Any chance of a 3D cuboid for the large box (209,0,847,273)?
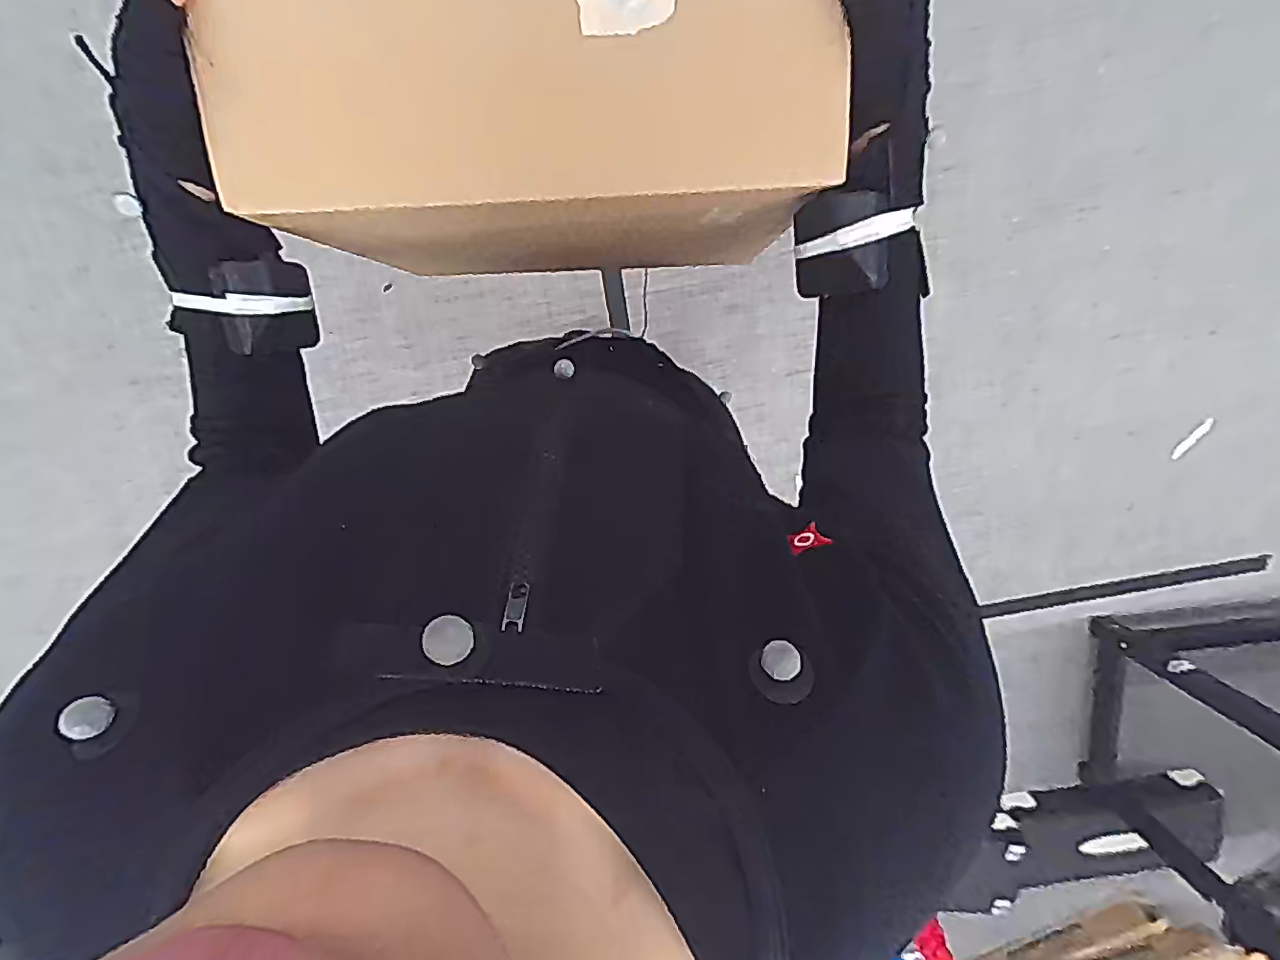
[{"bbox_3d":[-0.072,-0.374,0.472,0.408,0.320,0.320,-2,104,0],"label":"large box"}]
